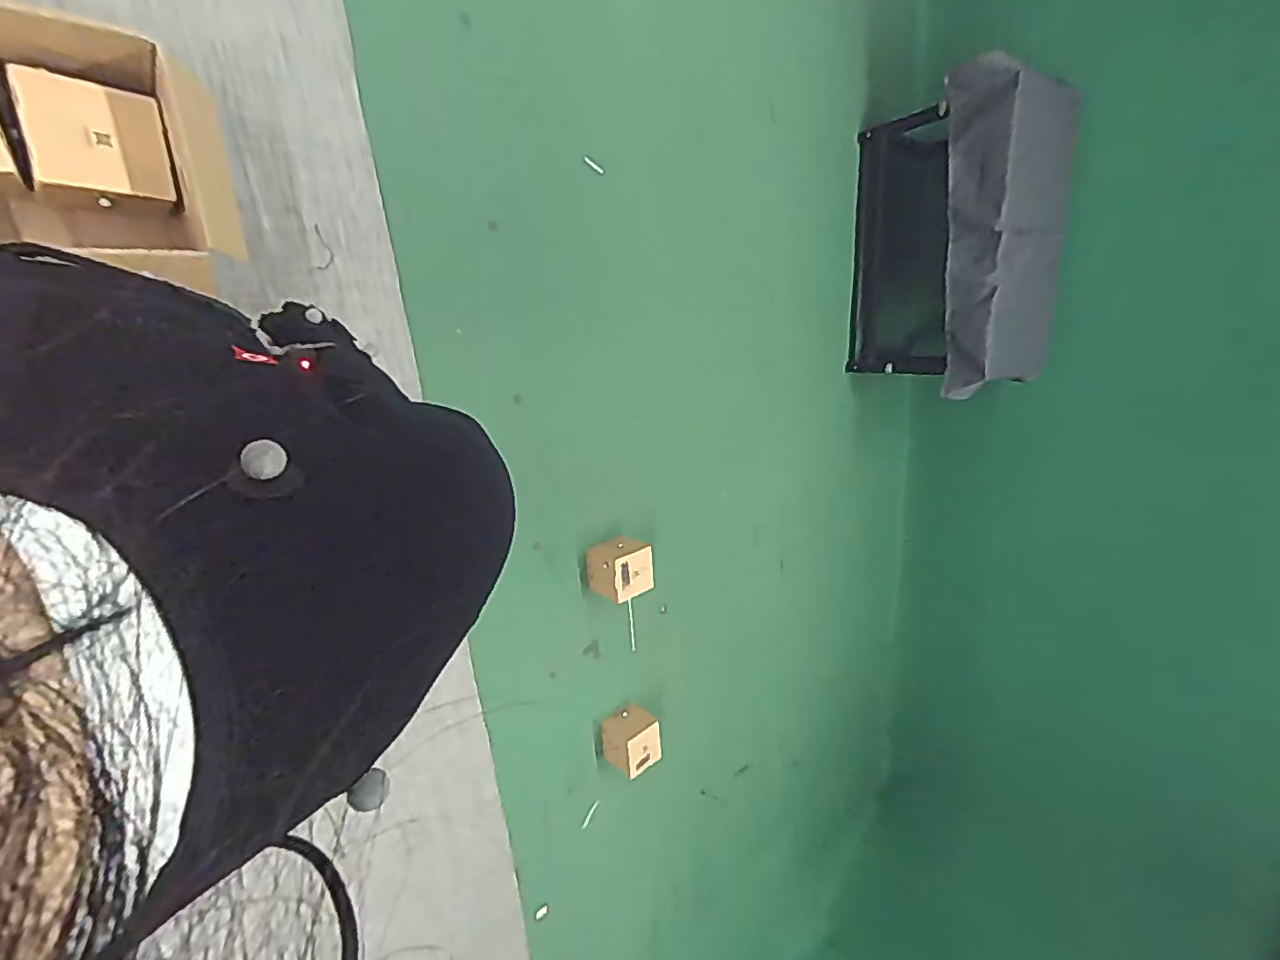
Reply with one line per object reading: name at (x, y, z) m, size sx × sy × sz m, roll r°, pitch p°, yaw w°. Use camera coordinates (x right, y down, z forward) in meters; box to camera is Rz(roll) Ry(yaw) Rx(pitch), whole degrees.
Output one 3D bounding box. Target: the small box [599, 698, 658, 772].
small box at (-0.048, 1.014, 2.165) m, size 0.168 × 0.176 × 0.179 m, roll -17°, pitch 110°, yaw -40°
